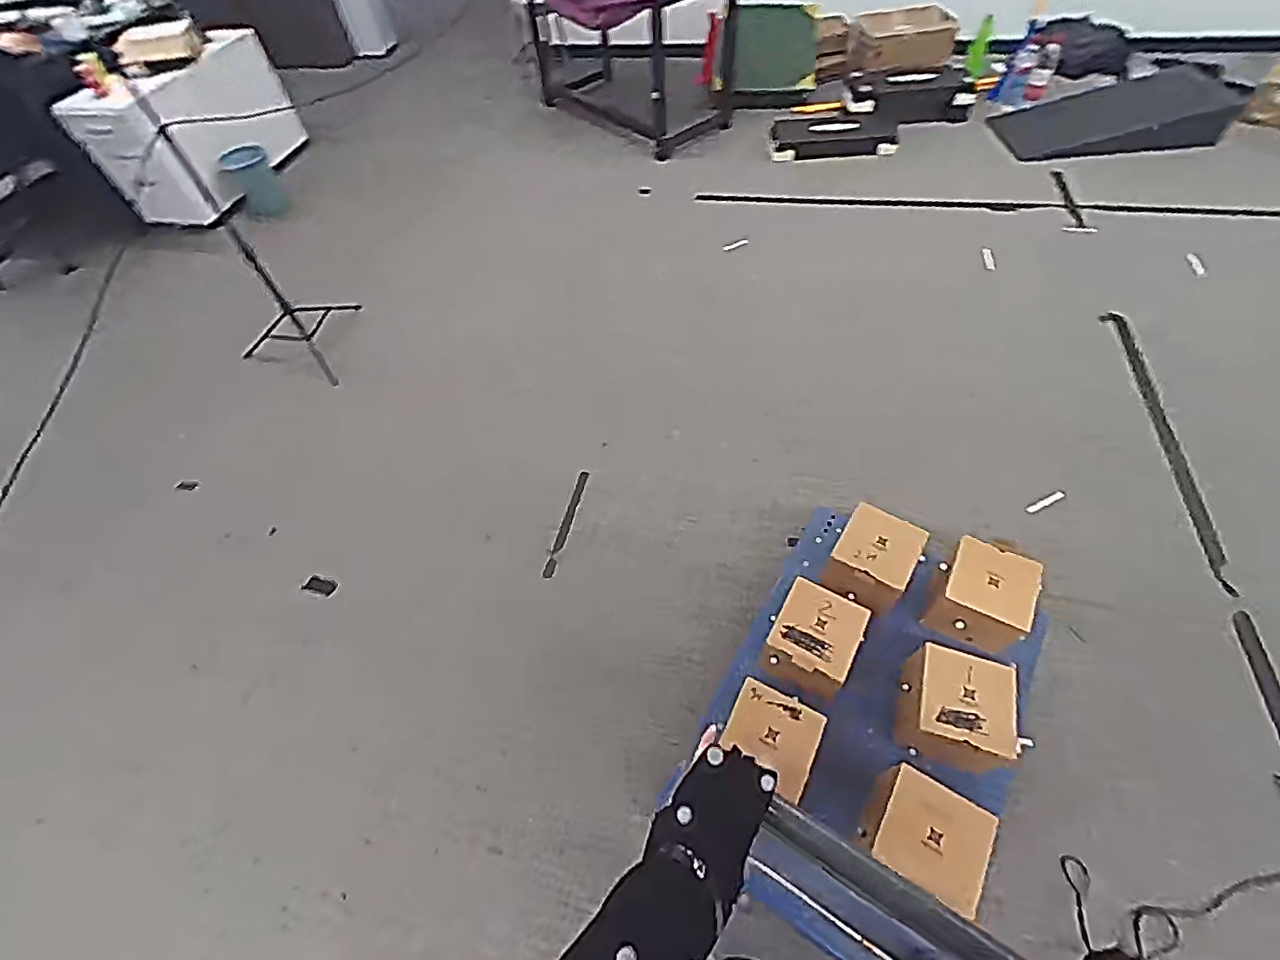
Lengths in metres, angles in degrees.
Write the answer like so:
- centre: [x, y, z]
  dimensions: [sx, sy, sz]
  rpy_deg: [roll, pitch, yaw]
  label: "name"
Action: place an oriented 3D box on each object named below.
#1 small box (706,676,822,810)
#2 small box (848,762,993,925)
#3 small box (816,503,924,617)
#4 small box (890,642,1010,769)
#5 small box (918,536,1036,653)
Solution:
- centre: [0.243, 0.532, 1.083]
  dimensions: [0.168, 0.176, 0.179]
  rpy_deg: [24, 60, 19]
  label: "small box"
- centre: [0.496, 0.652, 0.980]
  dimensions: [0.168, 0.176, 0.179]
  rpy_deg: [27, 60, 21]
  label: "small box"
- centre: [0.542, 0.194, 1.296]
  dimensions: [0.168, 0.176, 0.179]
  rpy_deg: [28, 62, 22]
  label: "small box"
- centre: [0.624, 0.464, 1.101]
  dimensions: [0.168, 0.176, 0.179]
  rpy_deg: [15, 57, 15]
  label: "small box"
- centre: [0.757, 0.265, 1.231]
  dimensions: [0.168, 0.176, 0.179]
  rpy_deg: [23, 60, 20]
  label: "small box"
